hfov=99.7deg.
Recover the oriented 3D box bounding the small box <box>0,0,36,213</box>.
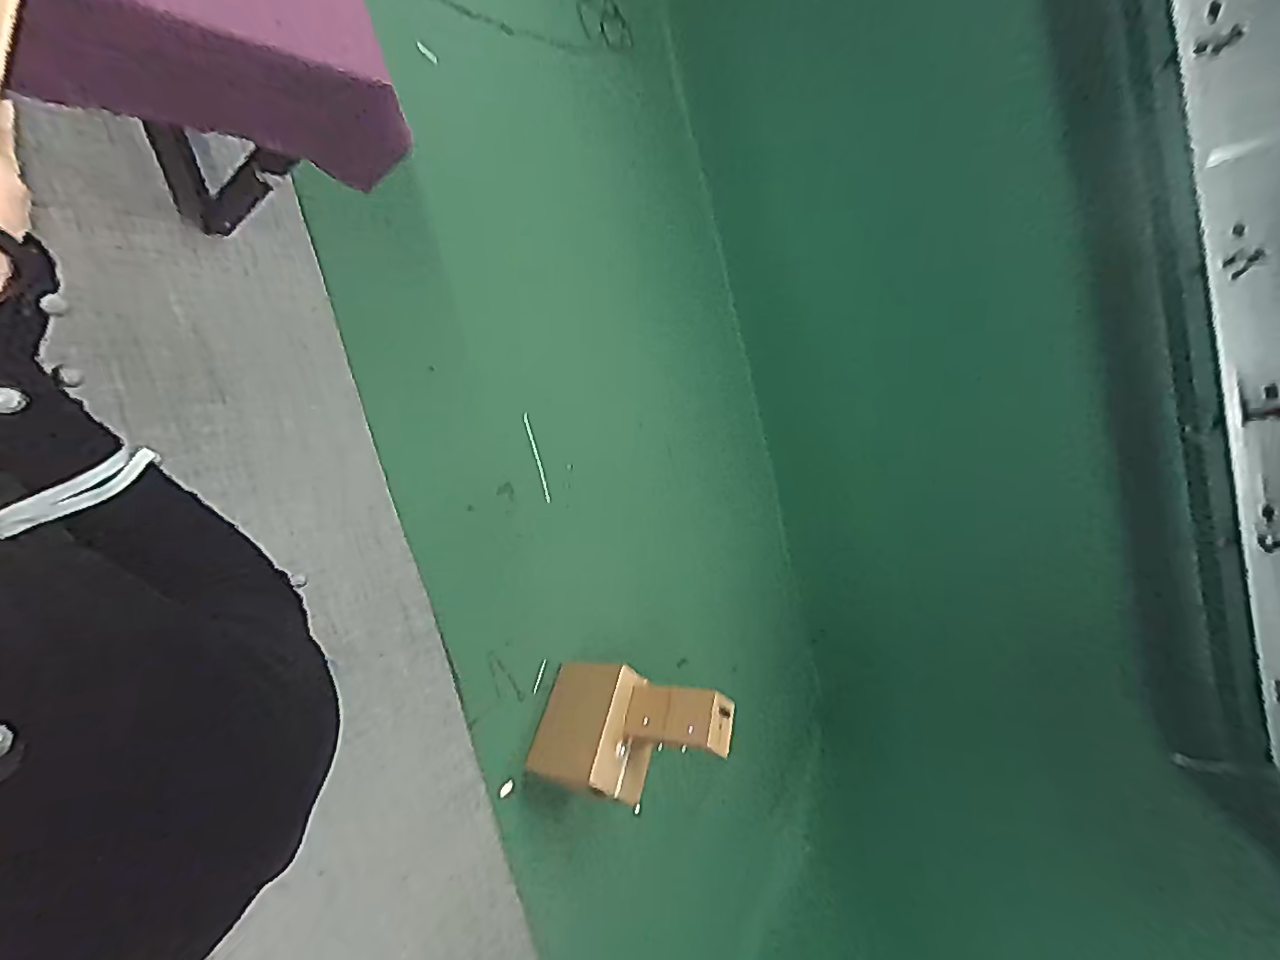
[{"bbox_3d":[-0.450,-0.219,0.253,0.179,0.168,0.176,32,44,-65],"label":"small box"}]
